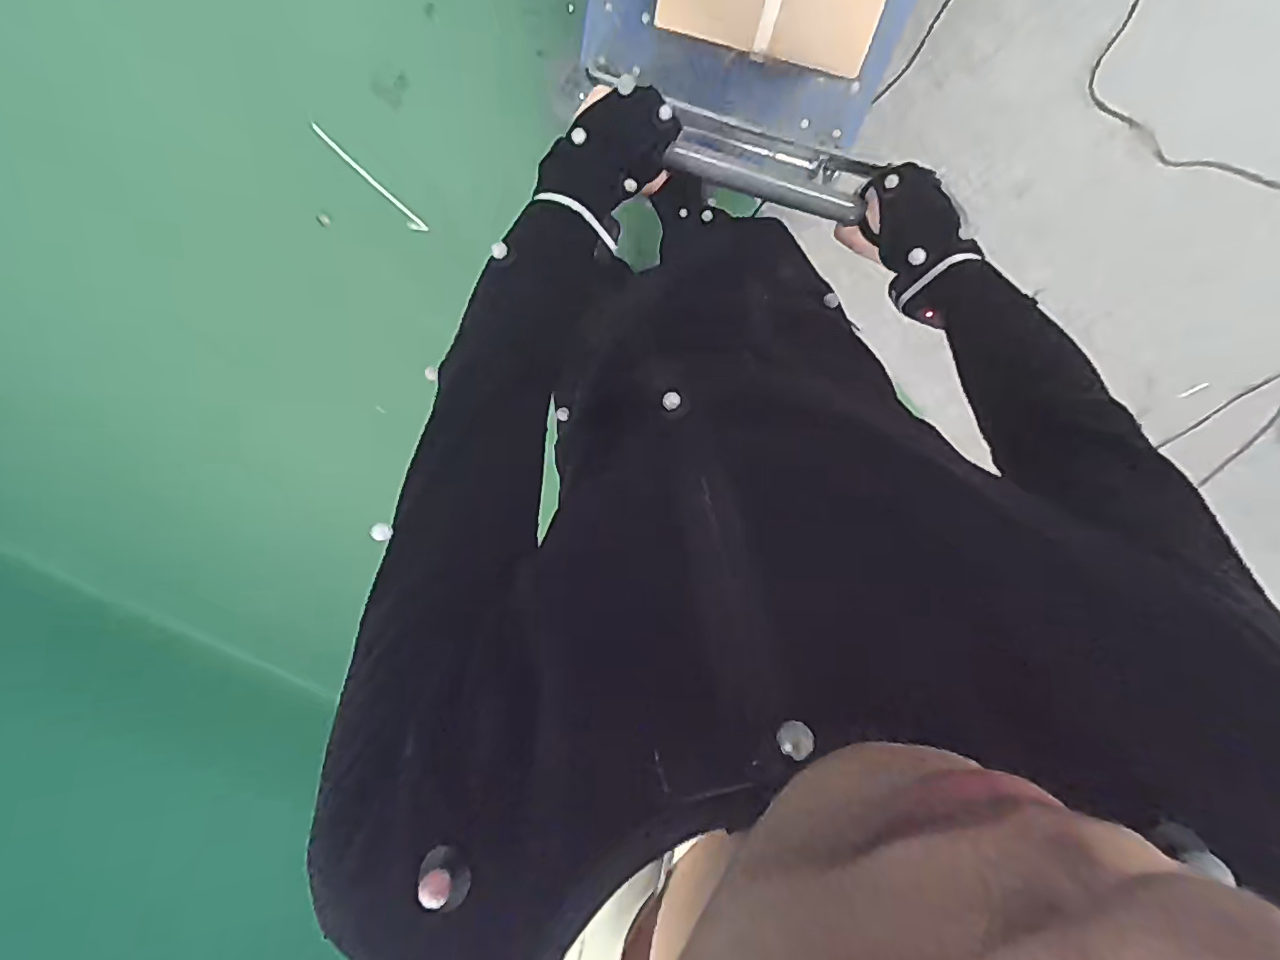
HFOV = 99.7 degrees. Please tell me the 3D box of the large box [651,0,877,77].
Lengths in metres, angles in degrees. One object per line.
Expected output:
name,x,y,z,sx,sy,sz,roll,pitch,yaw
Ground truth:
large box,0.208,-0.871,0.794,0.320,0.320,0.408,10,128,-6
